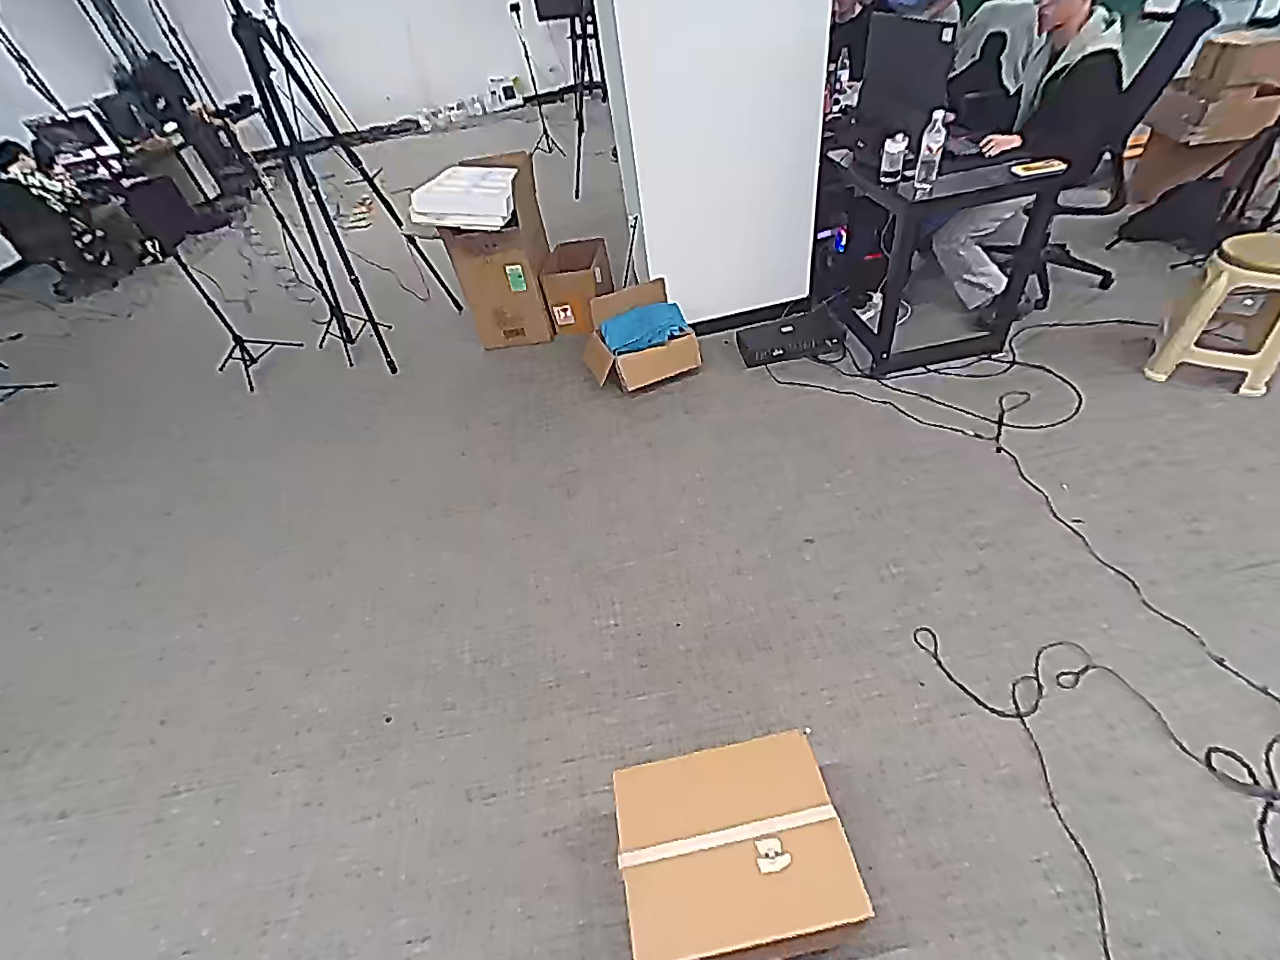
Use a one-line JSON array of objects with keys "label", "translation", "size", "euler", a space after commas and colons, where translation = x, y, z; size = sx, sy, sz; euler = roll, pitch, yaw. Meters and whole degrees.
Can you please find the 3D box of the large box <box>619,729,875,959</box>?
[{"label": "large box", "translation": [0.195, 0.765, 1.098], "size": [0.408, 0.320, 0.320], "euler": [-12, 43, -1]}]
